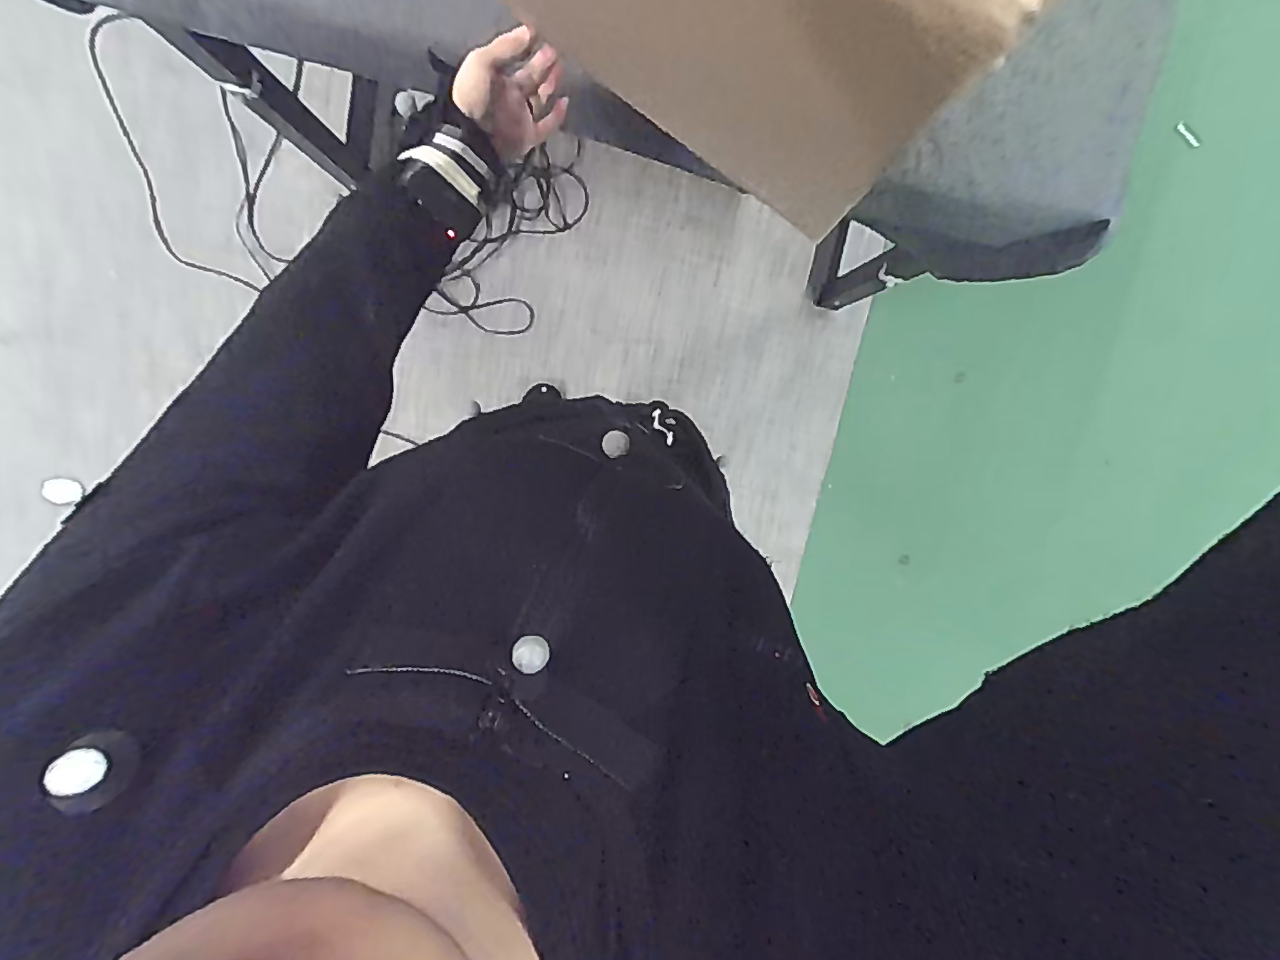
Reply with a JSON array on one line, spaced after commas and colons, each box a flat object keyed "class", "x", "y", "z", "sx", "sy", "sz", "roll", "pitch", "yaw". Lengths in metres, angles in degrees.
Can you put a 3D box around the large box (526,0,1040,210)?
[{"class": "large box", "x": 0.073, "y": -0.364, "z": 0.231, "sx": 0.320, "sy": 0.408, "sz": 0.320, "roll": 35, "pitch": 113, "yaw": -2}]
